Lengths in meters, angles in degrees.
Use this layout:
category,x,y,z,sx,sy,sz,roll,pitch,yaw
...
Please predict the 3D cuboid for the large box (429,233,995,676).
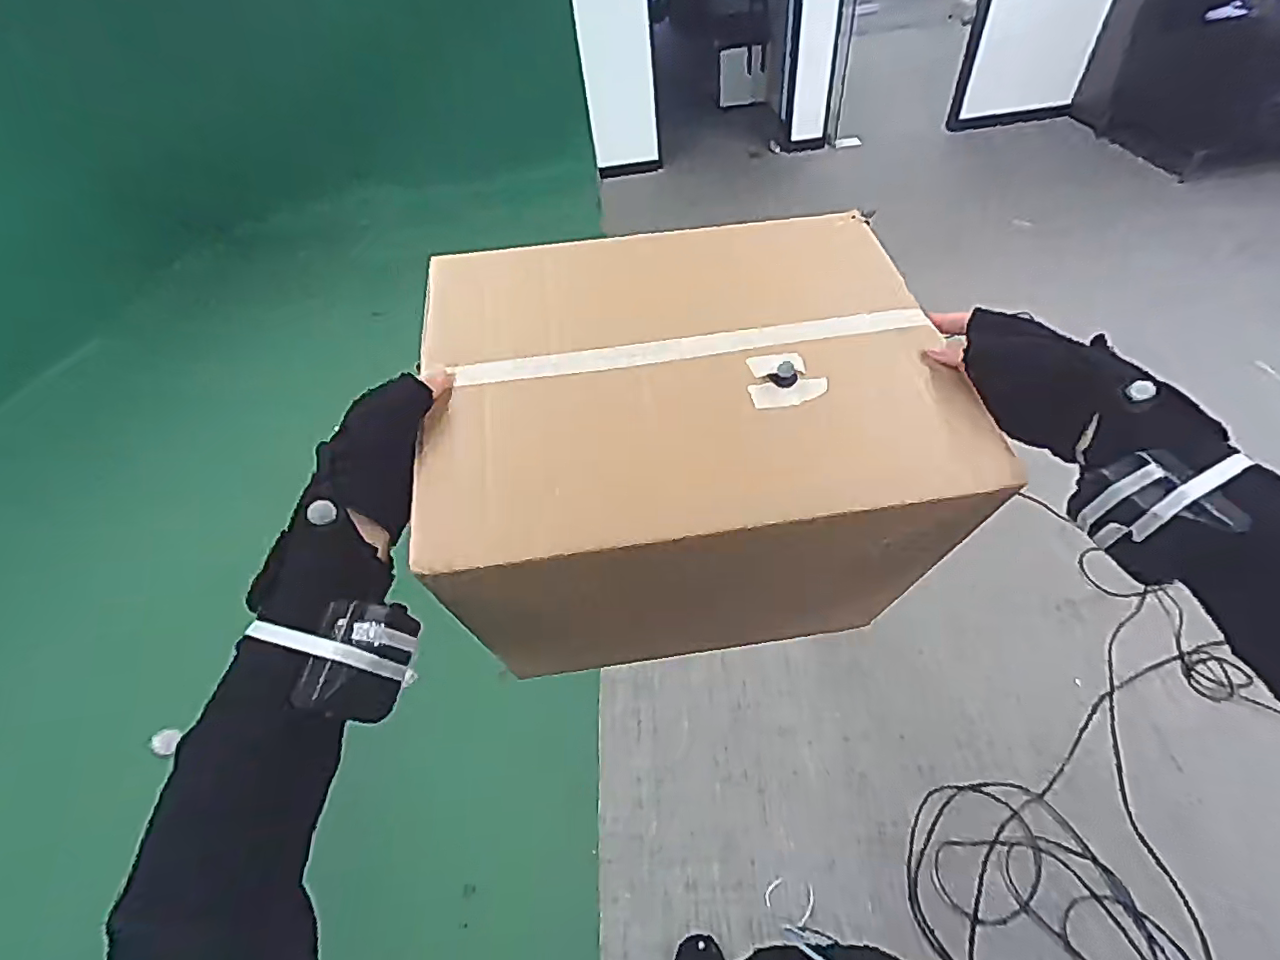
category,x,y,z,sx,sy,sz,roll,pitch,yaw
large box,0.034,-0.014,0.568,0.408,0.320,0.320,-7,58,-4
